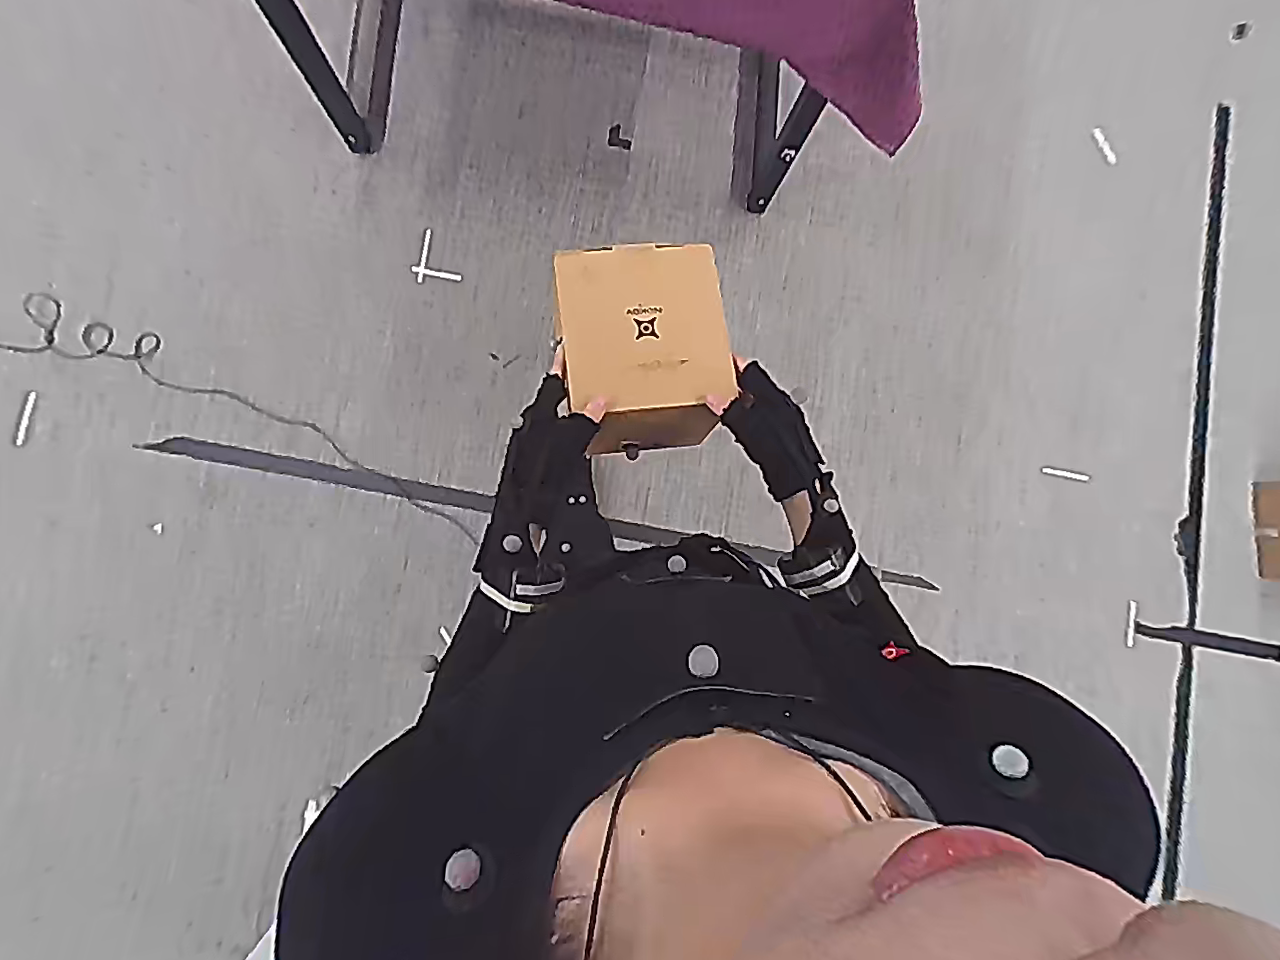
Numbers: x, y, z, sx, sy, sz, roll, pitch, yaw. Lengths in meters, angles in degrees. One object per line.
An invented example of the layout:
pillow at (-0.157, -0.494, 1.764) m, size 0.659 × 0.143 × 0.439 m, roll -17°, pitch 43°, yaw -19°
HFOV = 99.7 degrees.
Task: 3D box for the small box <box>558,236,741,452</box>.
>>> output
small box at (-0.002, -0.143, 0.605) m, size 0.168 × 0.176 × 0.179 m, roll -7°, pitch 79°, yaw -8°
